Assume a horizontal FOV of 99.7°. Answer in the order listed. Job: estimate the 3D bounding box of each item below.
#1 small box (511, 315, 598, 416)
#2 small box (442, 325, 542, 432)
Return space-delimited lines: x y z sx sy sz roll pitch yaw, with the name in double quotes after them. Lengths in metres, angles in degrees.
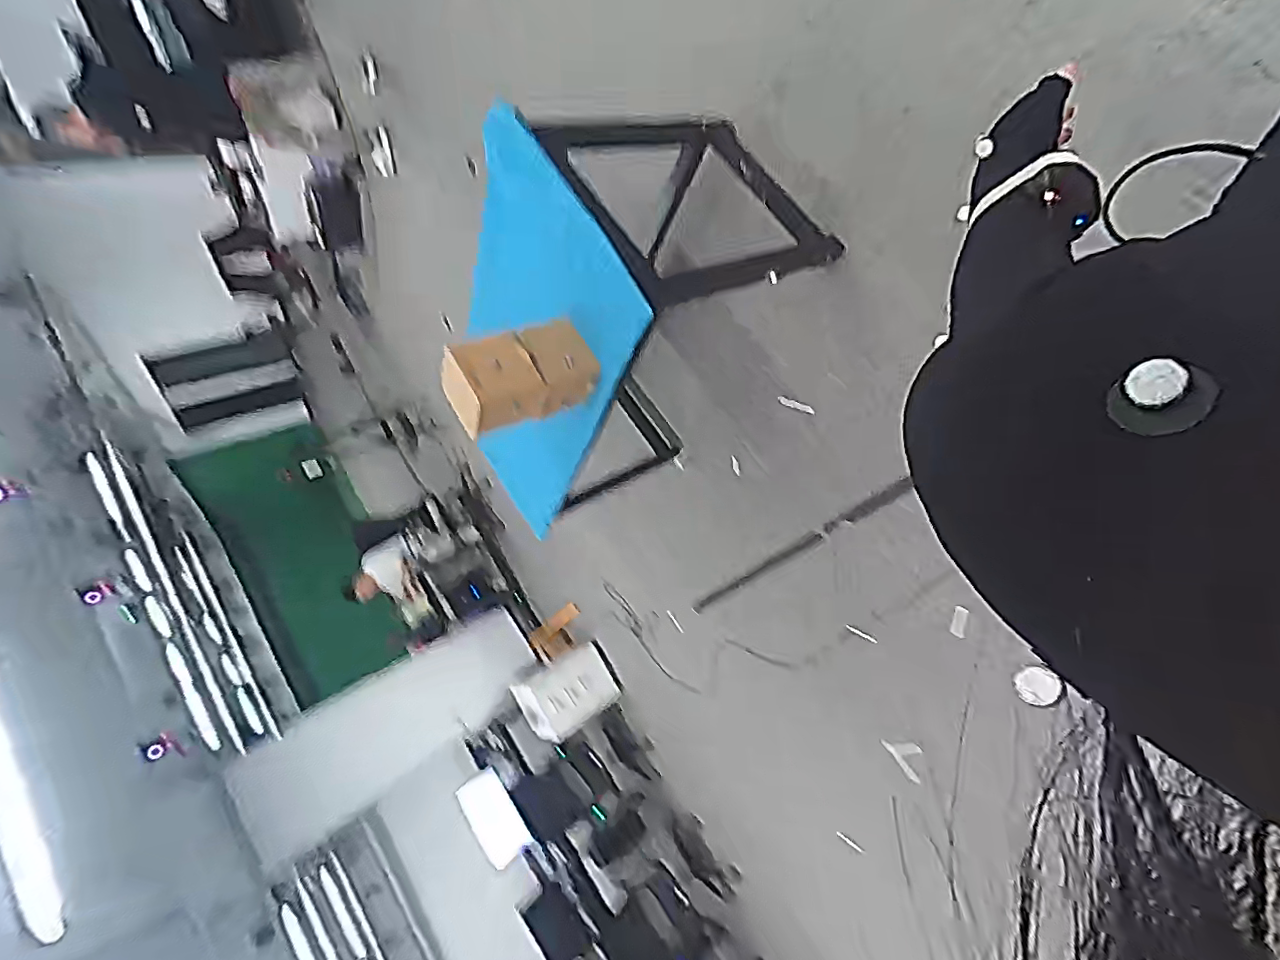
-0.240 -0.292 1.397 0.179 0.176 0.168 56 146 13 "small box"
-0.364 -0.238 1.305 0.168 0.176 0.179 58 149 12 "small box"
